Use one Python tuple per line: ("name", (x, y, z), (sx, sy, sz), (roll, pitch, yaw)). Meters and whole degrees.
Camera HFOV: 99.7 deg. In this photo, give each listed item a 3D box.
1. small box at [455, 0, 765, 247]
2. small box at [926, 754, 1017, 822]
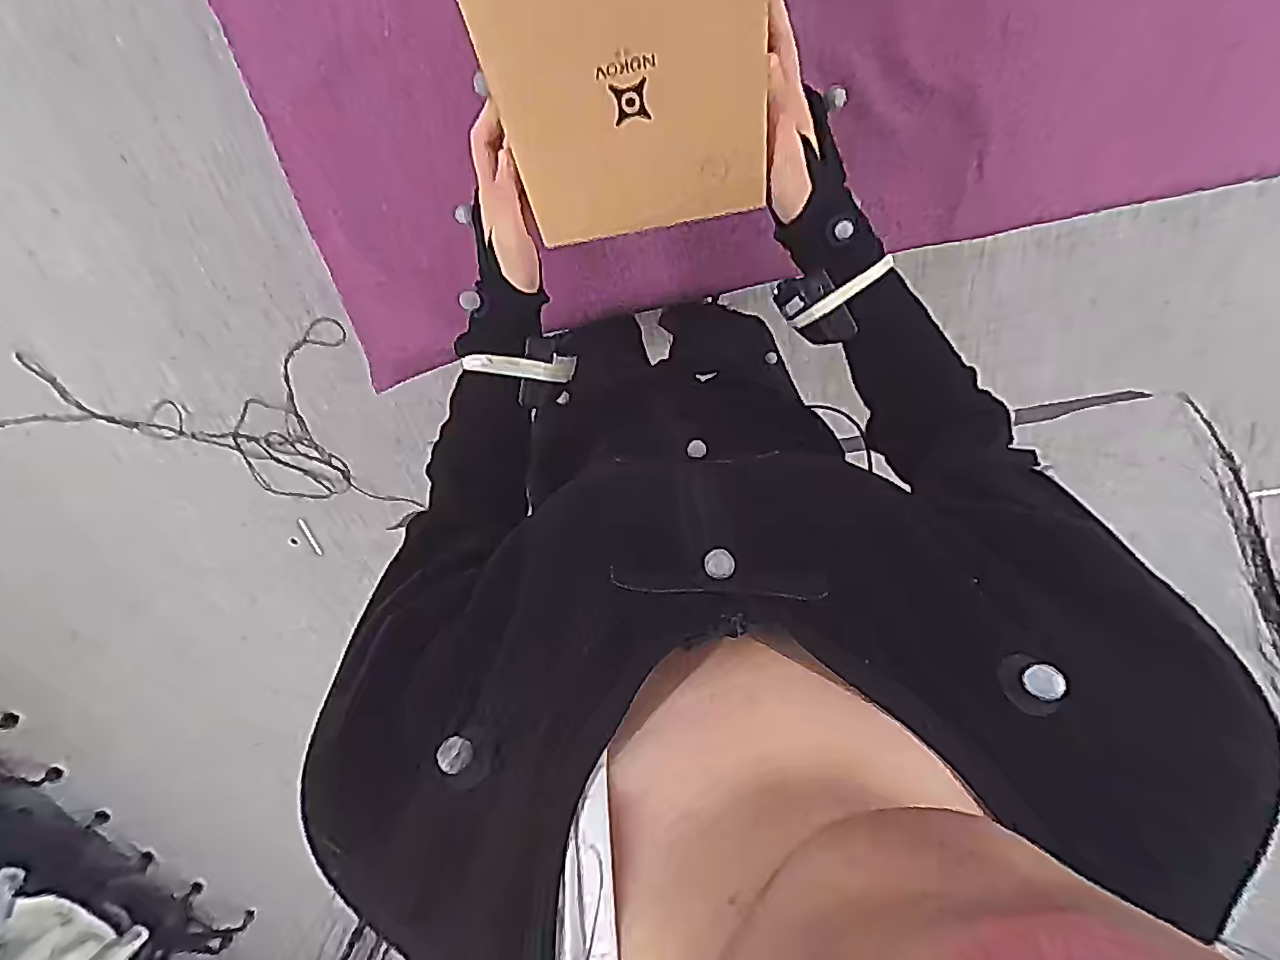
("small box", (-0.009, -0.296, 0.369), (0.168, 0.176, 0.179), (-7, 146, 7))
("small box", (1.139, 1.085, 1.873), (0.179, 0.176, 0.168), (26, 118, -14))
